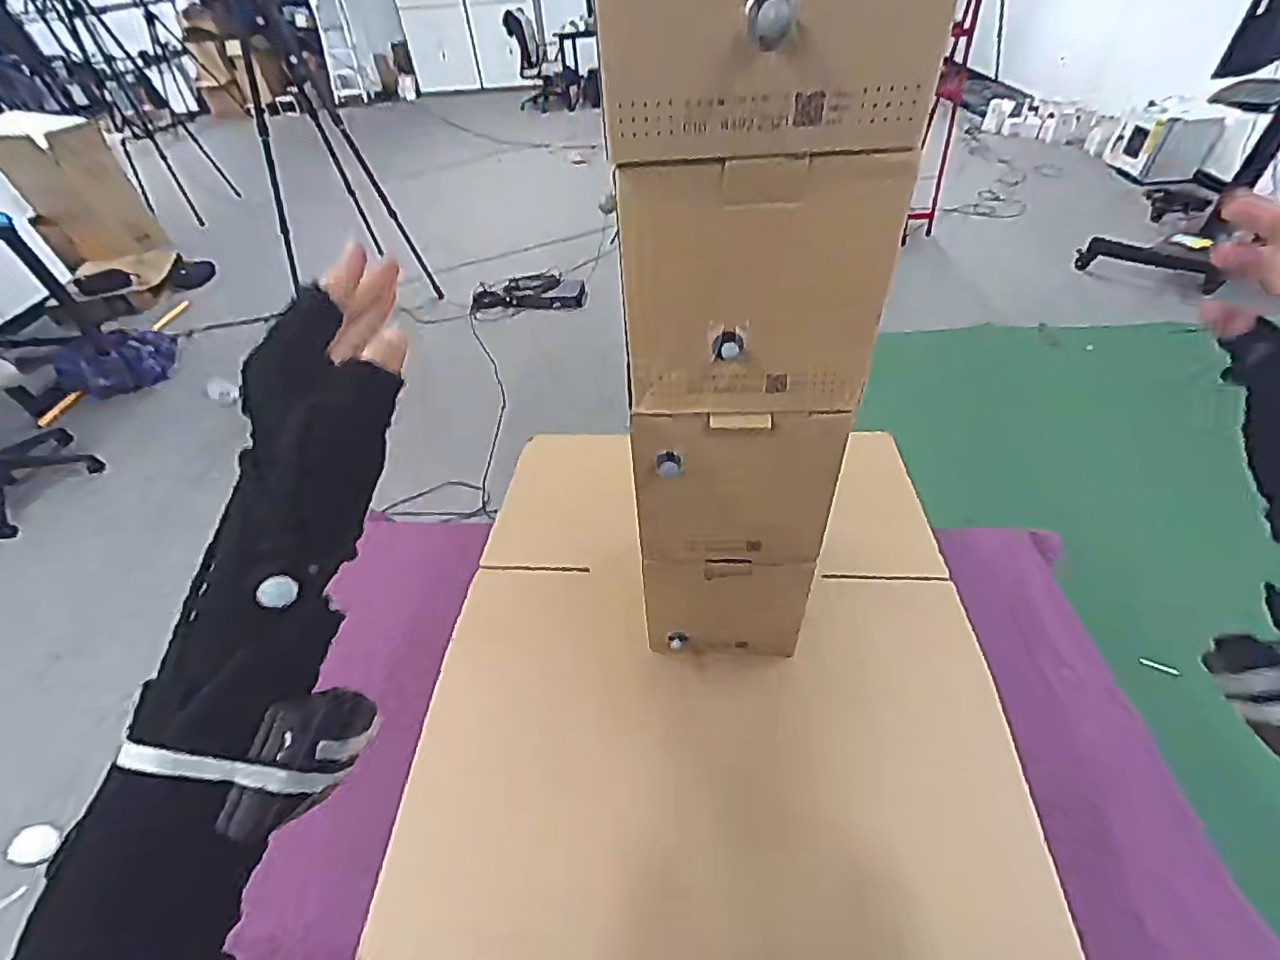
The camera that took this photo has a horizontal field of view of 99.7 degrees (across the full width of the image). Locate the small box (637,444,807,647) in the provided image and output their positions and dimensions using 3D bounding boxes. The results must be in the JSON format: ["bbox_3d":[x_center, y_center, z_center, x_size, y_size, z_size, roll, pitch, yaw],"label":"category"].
[{"bbox_3d":[0.090,0.076,0.629,0.168,0.176,0.179,1,42,5],"label":"small box"}]

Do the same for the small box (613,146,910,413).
[{"bbox_3d":[0.072,-0.169,0.412,0.168,0.176,0.179,-1,43,4],"label":"small box"}]

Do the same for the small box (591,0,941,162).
[{"bbox_3d":[0.060,-0.289,0.300,0.168,0.176,0.179,-1,42,3],"label":"small box"}]
